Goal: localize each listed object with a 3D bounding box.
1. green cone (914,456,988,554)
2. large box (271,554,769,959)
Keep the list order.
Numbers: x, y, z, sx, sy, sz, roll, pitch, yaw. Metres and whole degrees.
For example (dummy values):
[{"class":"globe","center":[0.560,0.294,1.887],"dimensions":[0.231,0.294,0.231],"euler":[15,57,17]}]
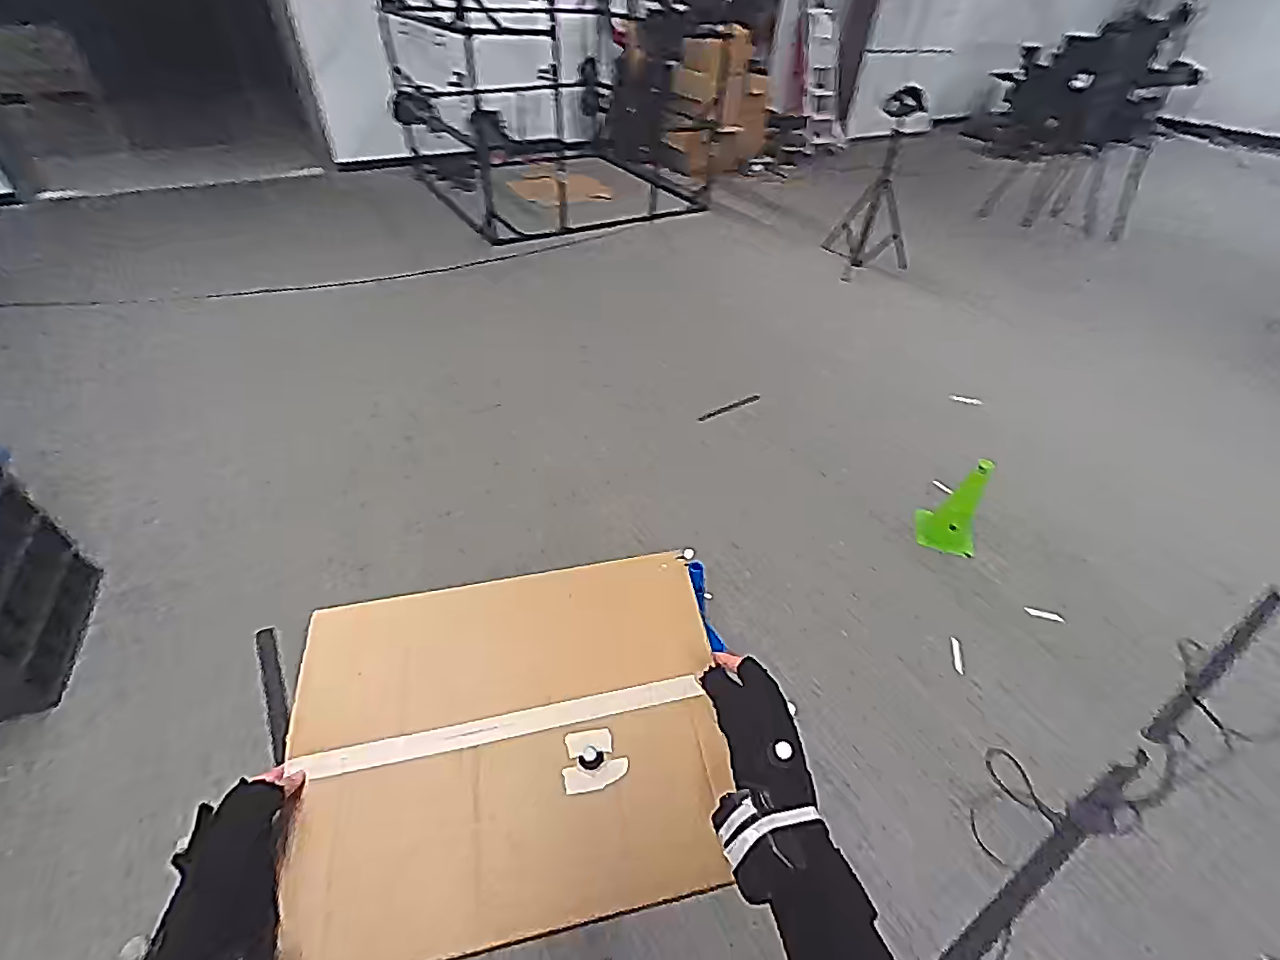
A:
[{"class":"green cone","center":[1.159,0.062,1.948],"dimensions":[0.202,0.368,0.200],"euler":[15,43,14]},{"class":"large box","center":[-0.116,0.324,0.634],"dimensions":[0.408,0.320,0.320],"euler":[-7,52,-8]}]
